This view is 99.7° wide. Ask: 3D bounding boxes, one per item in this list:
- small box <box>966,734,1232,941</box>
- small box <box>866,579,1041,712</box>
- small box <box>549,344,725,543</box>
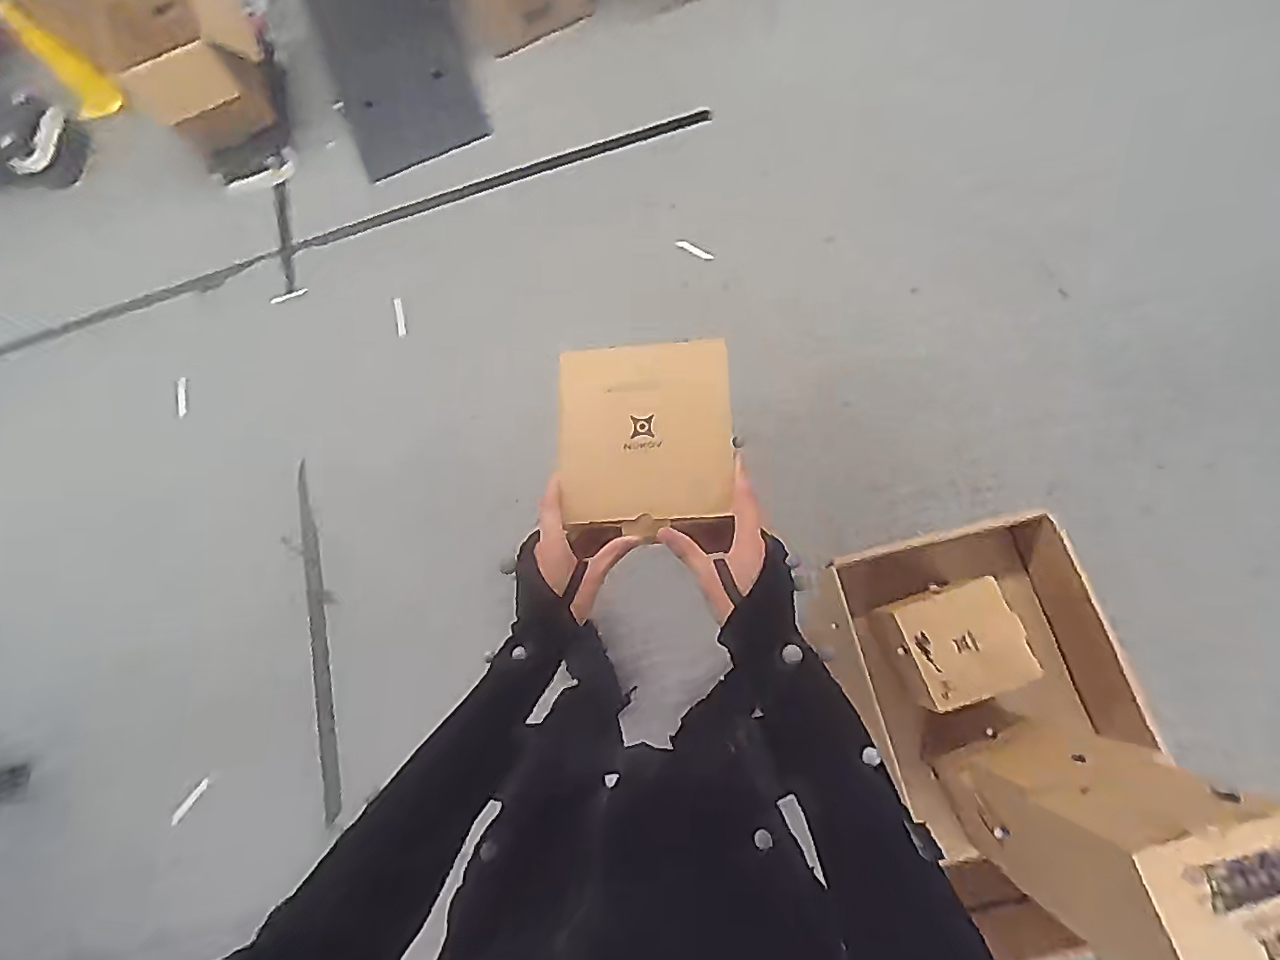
[{"bbox_3d":[0.579,0.452,0.714,0.179,0.176,0.168,-16,73,3],"label":"small box"},{"bbox_3d":[0.525,0.279,0.935,0.179,0.176,0.168,-19,73,1],"label":"small box"},{"bbox_3d":[0.005,-0.025,0.584,0.168,0.176,0.179,-4,78,6],"label":"small box"}]
